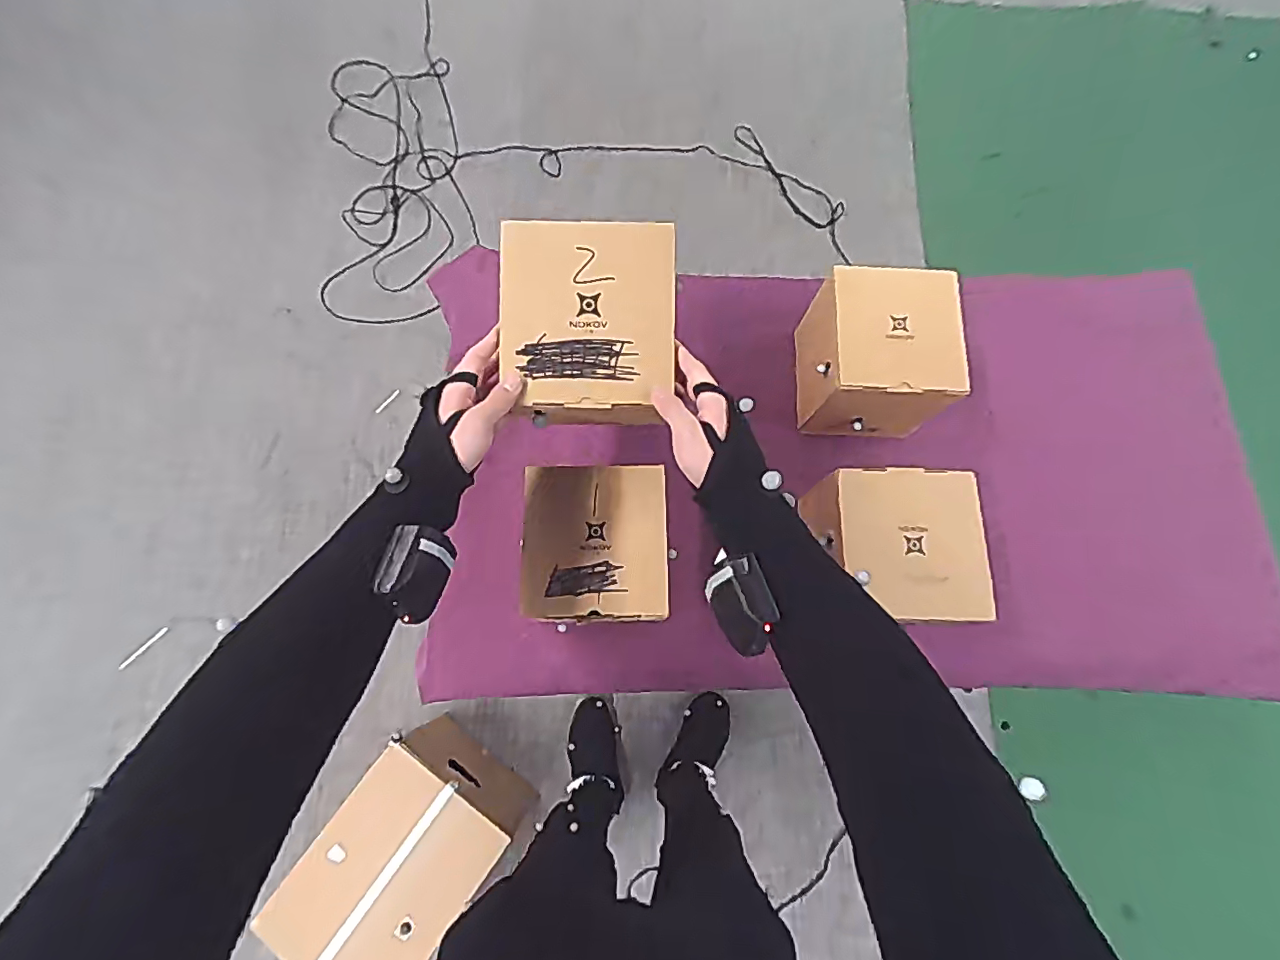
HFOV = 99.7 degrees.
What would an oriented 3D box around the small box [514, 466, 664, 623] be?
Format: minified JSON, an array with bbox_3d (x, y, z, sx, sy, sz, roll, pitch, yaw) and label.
[{"bbox_3d":[-0.055,0.089,0.677,0.168,0.176,0.179,0,74,-1],"label":"small box"}]

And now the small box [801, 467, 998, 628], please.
[{"bbox_3d":[0.308,0.093,0.683,0.168,0.176,0.179,2,75,1],"label":"small box"}]

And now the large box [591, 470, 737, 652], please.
[{"bbox_3d":[0.049,0.209,1.333,0.320,0.320,0.408,1,74,-1],"label":"large box"}]

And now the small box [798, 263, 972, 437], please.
[{"bbox_3d":[0.325,-0.173,0.754,0.168,0.176,0.179,3,77,-1],"label":"small box"}]
